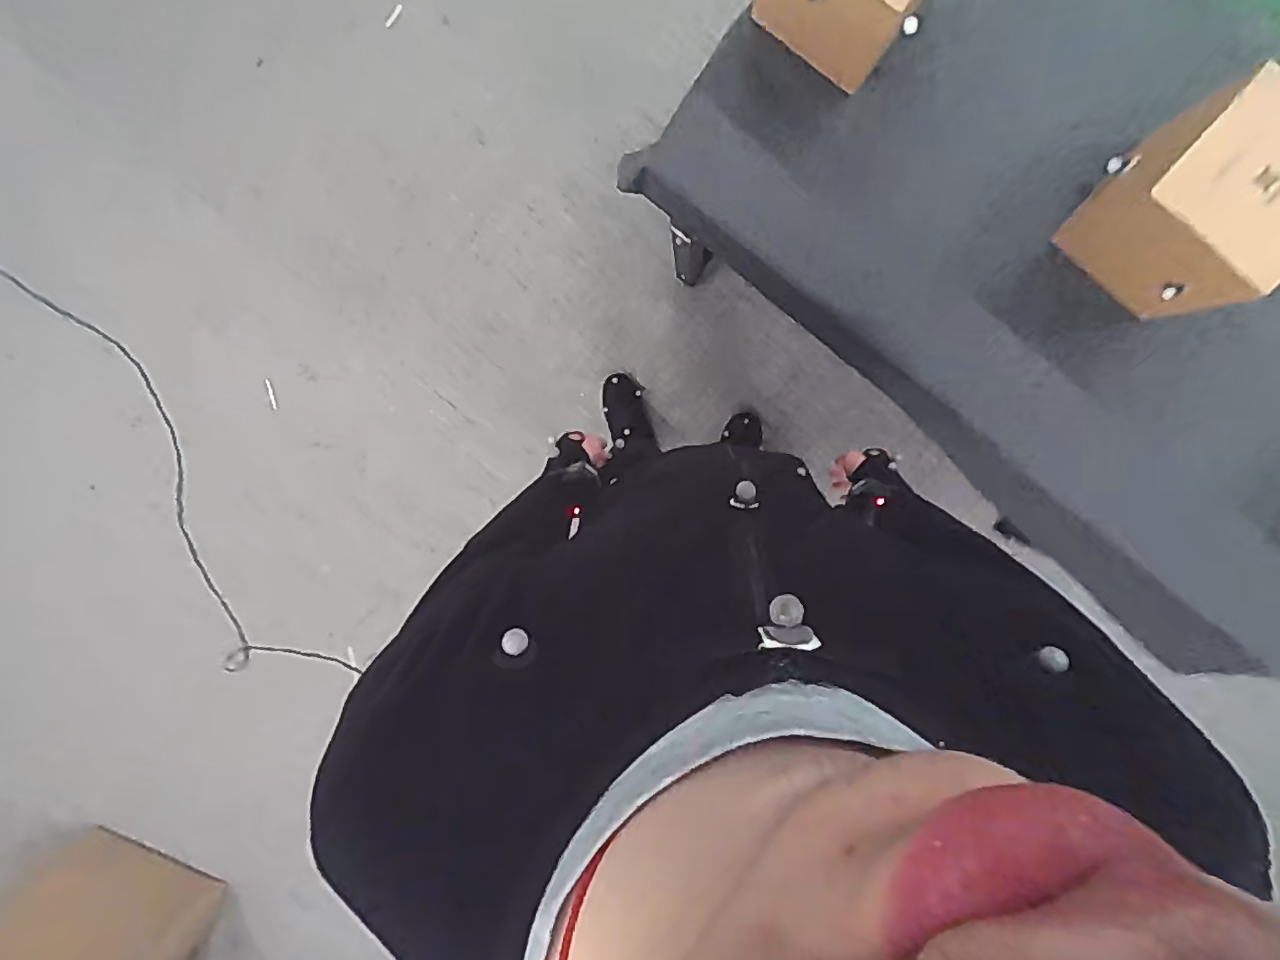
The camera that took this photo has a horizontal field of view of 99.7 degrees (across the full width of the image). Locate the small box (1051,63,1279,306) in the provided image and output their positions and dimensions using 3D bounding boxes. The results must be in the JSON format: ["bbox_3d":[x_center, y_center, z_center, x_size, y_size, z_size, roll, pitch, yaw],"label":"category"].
[{"bbox_3d":[0.670,-0.333,0.656,0.179,0.176,0.168,38,97,-2],"label":"small box"}]

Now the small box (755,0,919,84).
[{"bbox_3d":[0.258,-0.620,0.631,0.179,0.176,0.168,35,98,-4],"label":"small box"}]
